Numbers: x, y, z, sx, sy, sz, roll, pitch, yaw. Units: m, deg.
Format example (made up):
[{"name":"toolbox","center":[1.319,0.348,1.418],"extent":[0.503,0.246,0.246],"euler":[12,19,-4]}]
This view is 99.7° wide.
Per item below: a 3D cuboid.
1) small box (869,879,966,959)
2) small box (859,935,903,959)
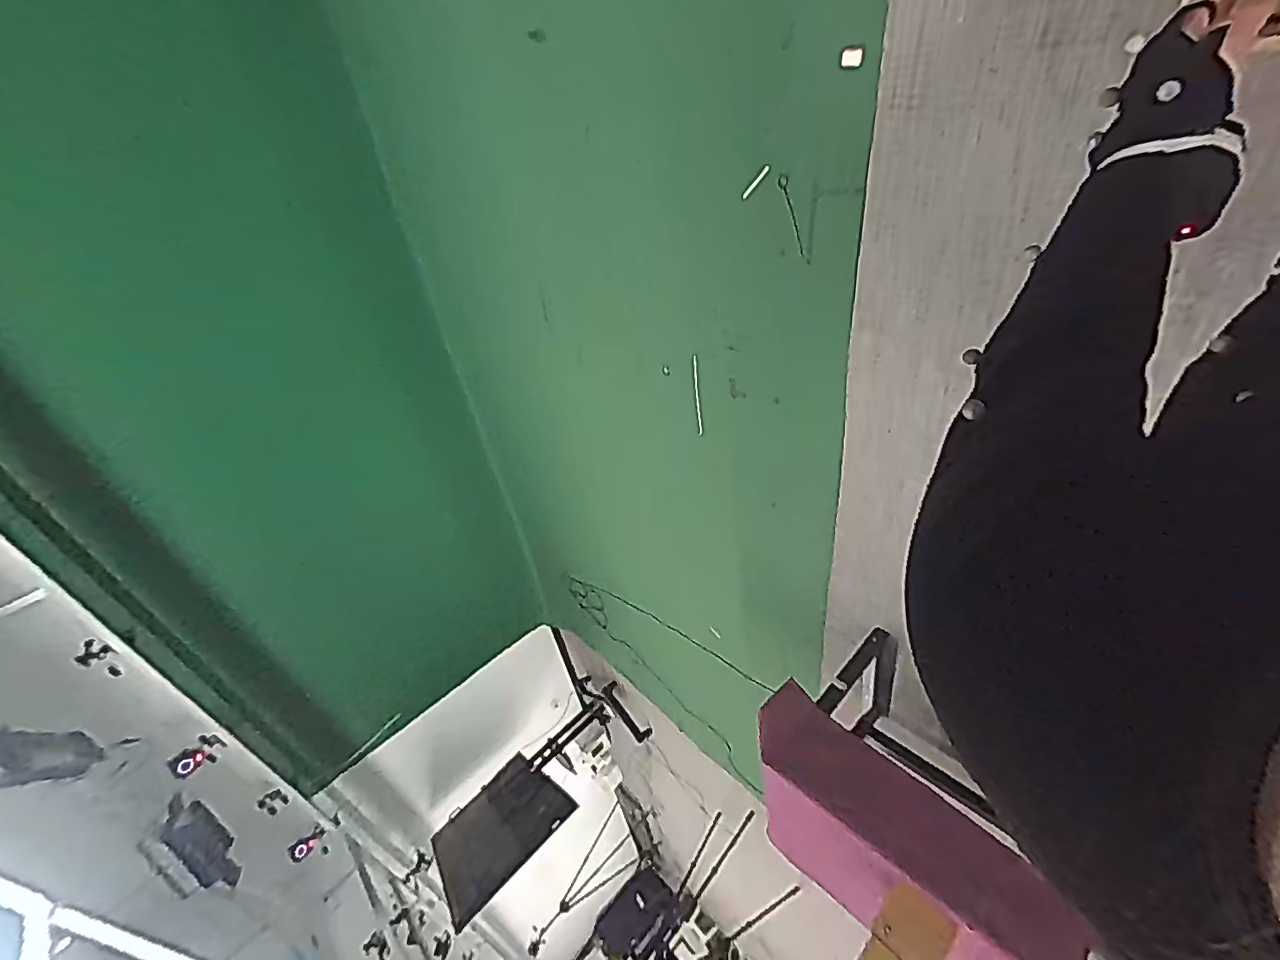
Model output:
[{"name":"small box","center":[0.739,1.228,1.446],"extent":[0.179,0.176,0.168],"euler":[27,141,42]},{"name":"small box","center":[0.625,1.313,1.363],"extent":[0.179,0.176,0.168],"euler":[29,142,38]}]
